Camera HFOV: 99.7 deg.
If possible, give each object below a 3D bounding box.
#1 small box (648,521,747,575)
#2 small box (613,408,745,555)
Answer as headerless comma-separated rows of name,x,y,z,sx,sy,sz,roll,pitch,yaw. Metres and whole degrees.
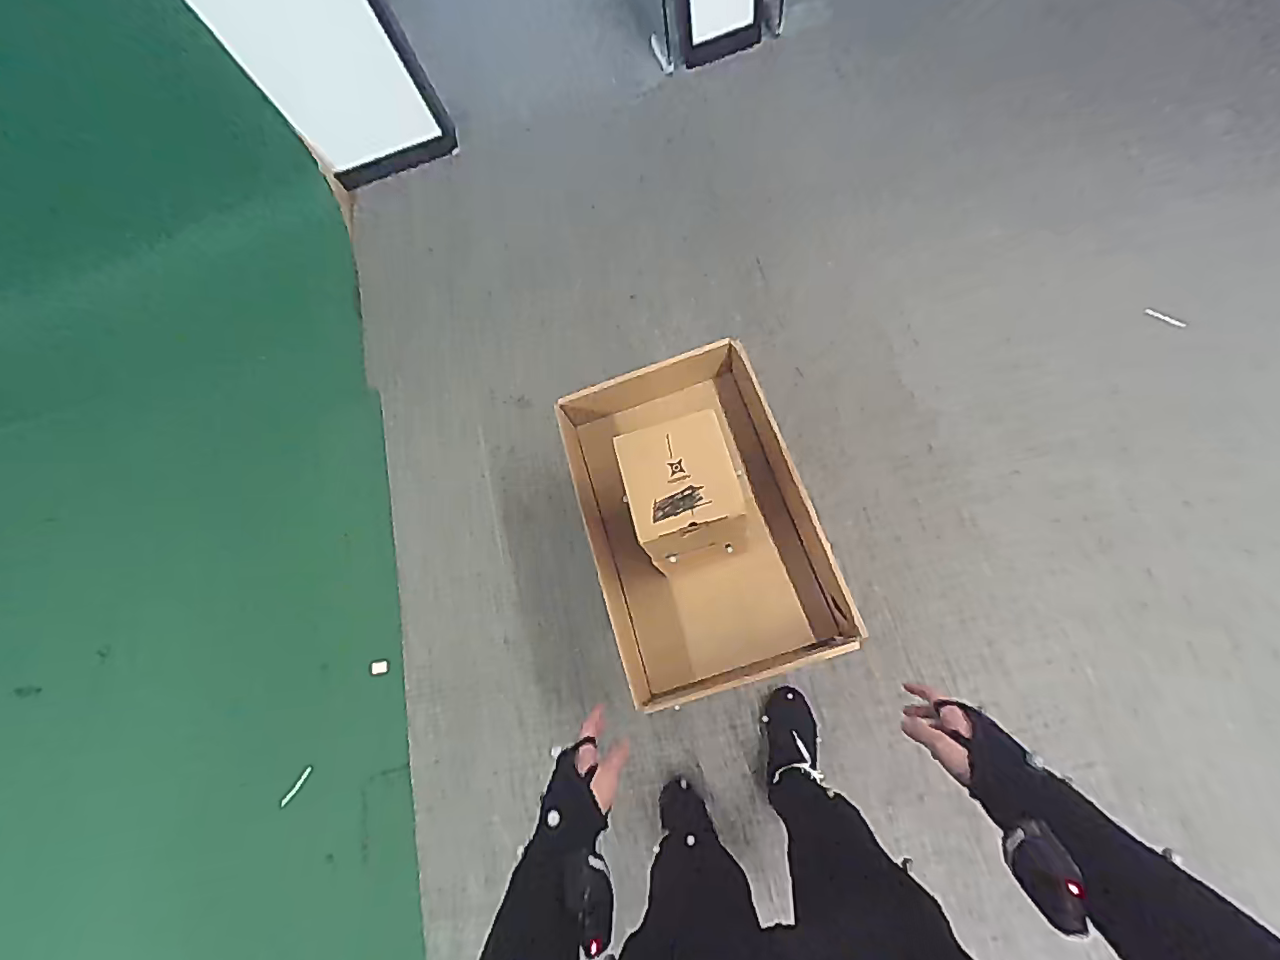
small box,0.096,0.070,1.024,0.179,0.176,0.168,-18,70,4
small box,0.068,0.014,0.872,0.168,0.176,0.179,-16,69,4
